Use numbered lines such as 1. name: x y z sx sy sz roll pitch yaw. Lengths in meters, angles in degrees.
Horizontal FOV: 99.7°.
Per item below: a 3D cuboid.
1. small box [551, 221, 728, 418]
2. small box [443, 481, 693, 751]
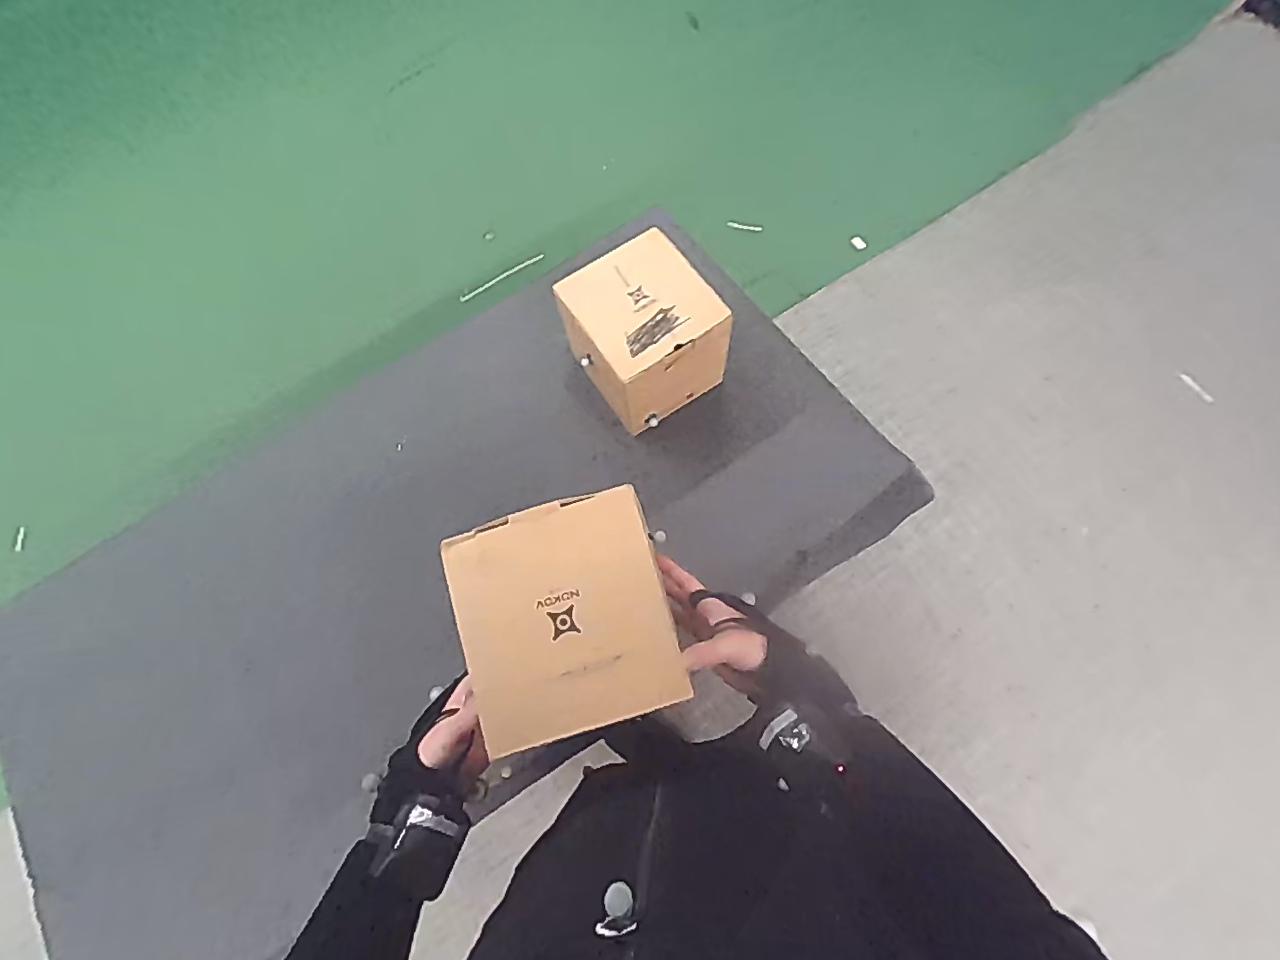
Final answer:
1. small box: 0.002 -0.208 0.756 0.168 0.176 0.179 -33 73 -8
2. small box: -0.057 0.115 0.501 0.168 0.176 0.179 -16 82 0
